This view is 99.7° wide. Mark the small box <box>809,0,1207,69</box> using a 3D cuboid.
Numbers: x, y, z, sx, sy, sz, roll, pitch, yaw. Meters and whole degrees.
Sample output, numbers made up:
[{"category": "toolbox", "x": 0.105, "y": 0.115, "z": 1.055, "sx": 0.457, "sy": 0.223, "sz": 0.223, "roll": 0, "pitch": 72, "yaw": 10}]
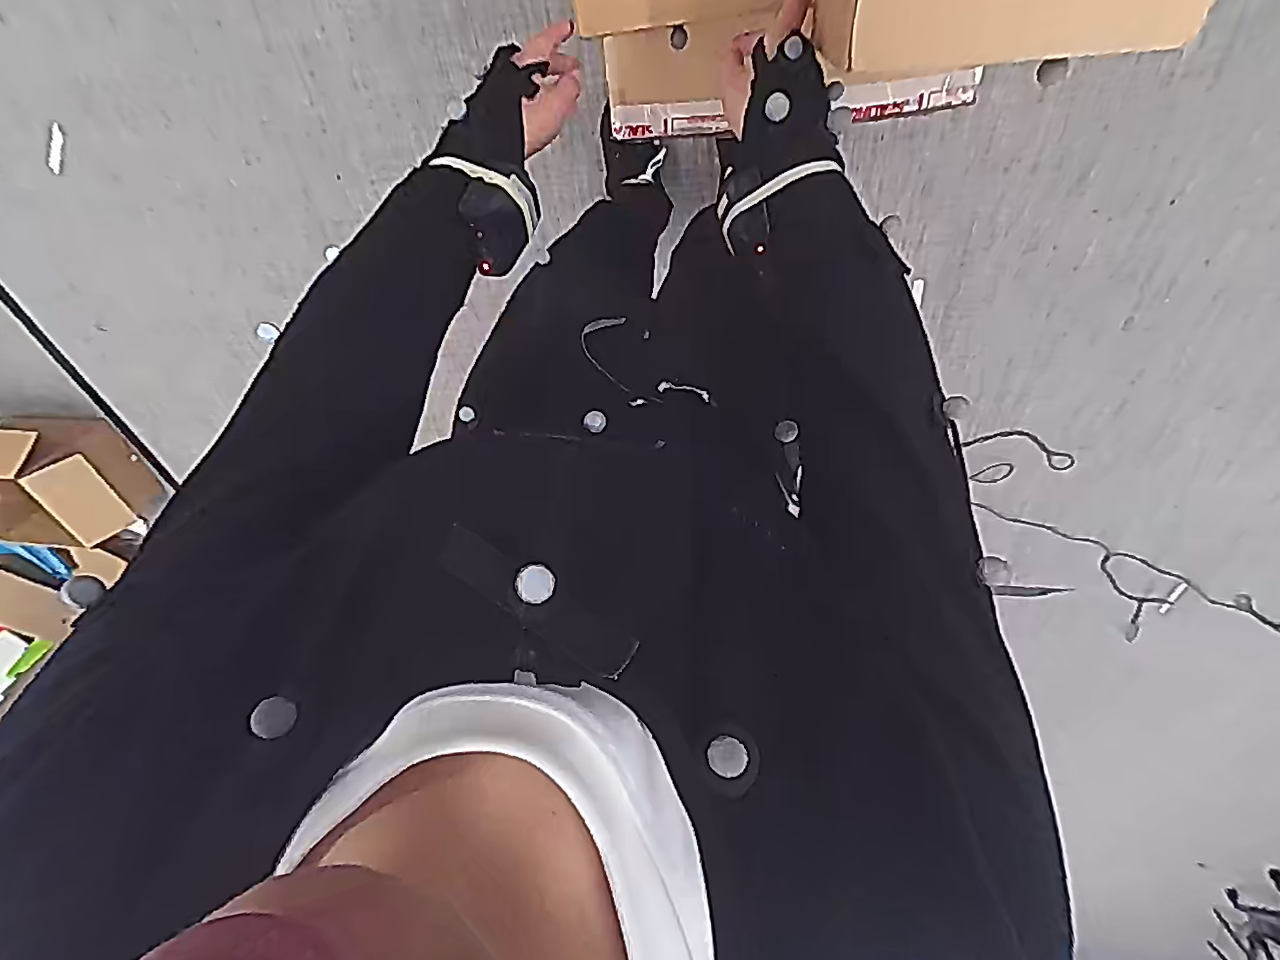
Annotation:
[{"category": "small box", "x": 0.200, "y": -0.340, "z": 0.293, "sx": 0.179, "sy": 0.176, "sz": 0.168, "roll": 2, "pitch": 133, "yaw": 8}]
